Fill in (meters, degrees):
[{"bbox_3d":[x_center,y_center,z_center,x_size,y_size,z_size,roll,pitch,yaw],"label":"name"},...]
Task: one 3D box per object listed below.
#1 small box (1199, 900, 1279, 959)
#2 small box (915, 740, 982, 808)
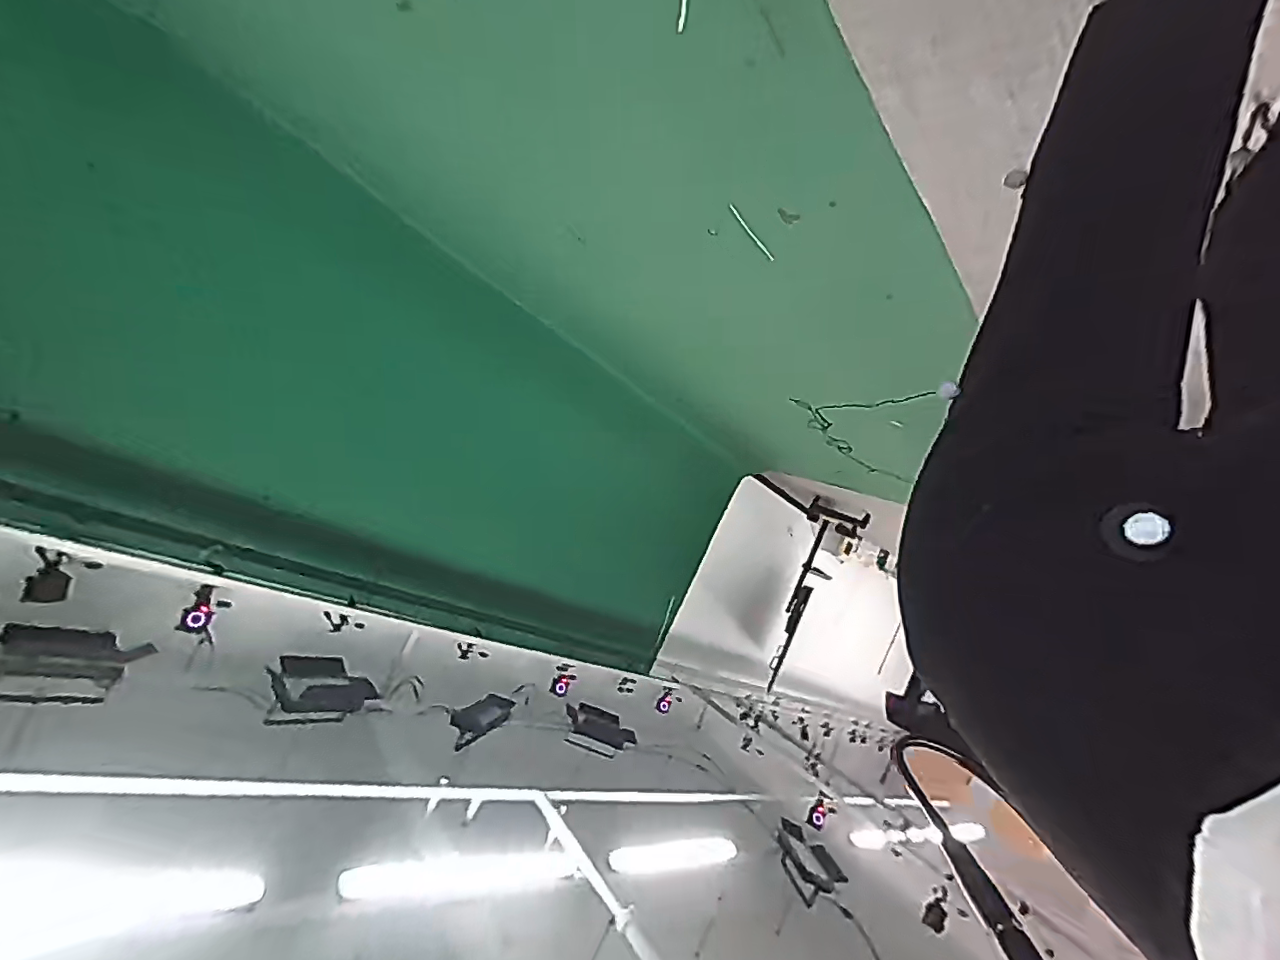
[{"bbox_3d":[1.692,1.310,1.495,0.179,0.176,0.168,27,175,-42],"label":"small box"},{"bbox_3d":[1.213,1.146,2.114,0.179,0.176,0.168,19,171,47],"label":"small box"}]
